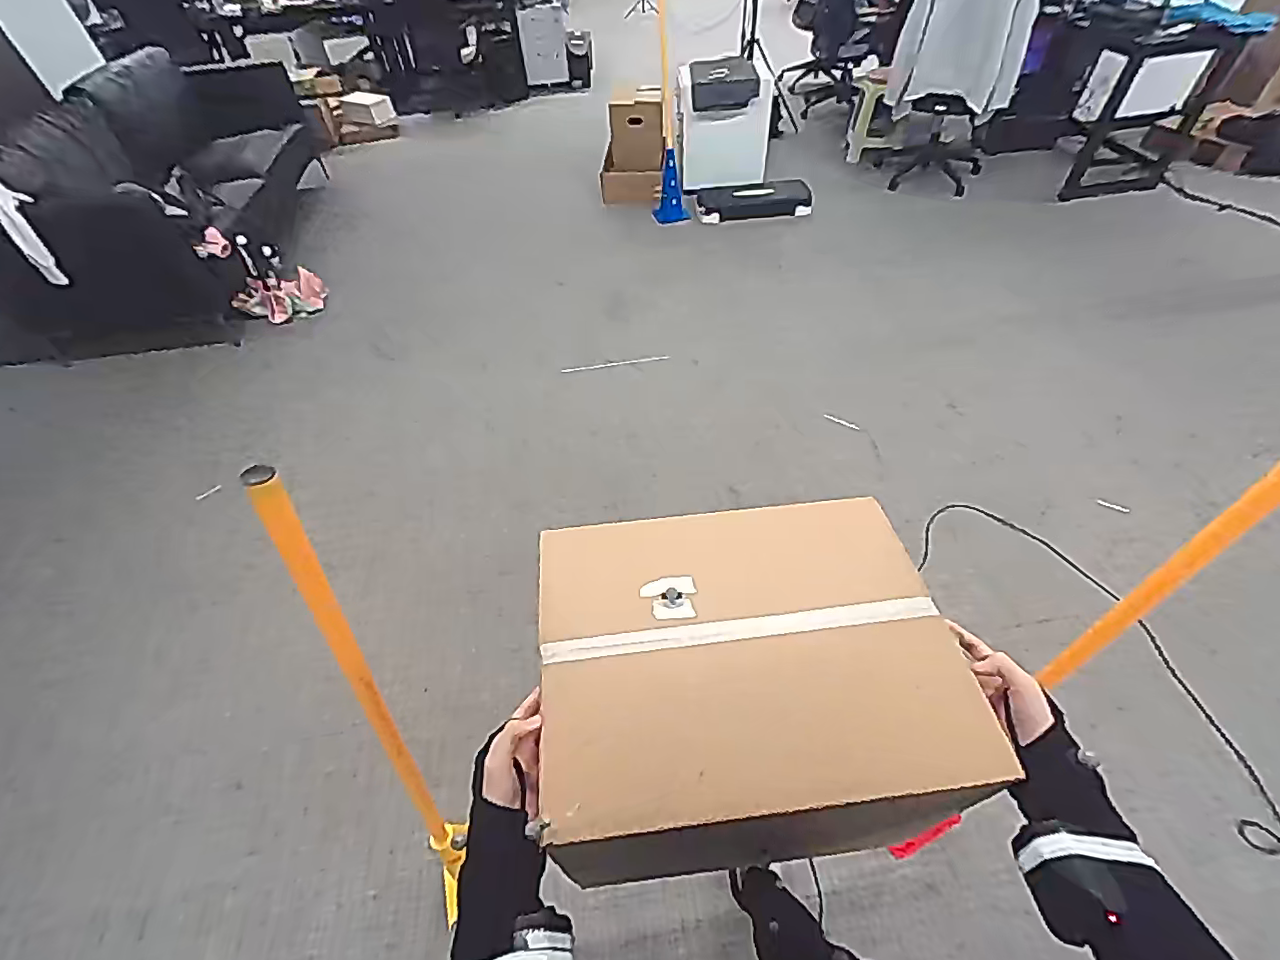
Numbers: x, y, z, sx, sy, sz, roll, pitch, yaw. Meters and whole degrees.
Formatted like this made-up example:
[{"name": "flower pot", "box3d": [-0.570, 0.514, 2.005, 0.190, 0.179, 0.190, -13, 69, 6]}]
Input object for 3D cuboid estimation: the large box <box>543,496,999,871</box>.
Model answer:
[{"name": "large box", "box3d": [0.107, 0.254, 0.666, 0.408, 0.320, 0.320, -6, 48, -3]}]
